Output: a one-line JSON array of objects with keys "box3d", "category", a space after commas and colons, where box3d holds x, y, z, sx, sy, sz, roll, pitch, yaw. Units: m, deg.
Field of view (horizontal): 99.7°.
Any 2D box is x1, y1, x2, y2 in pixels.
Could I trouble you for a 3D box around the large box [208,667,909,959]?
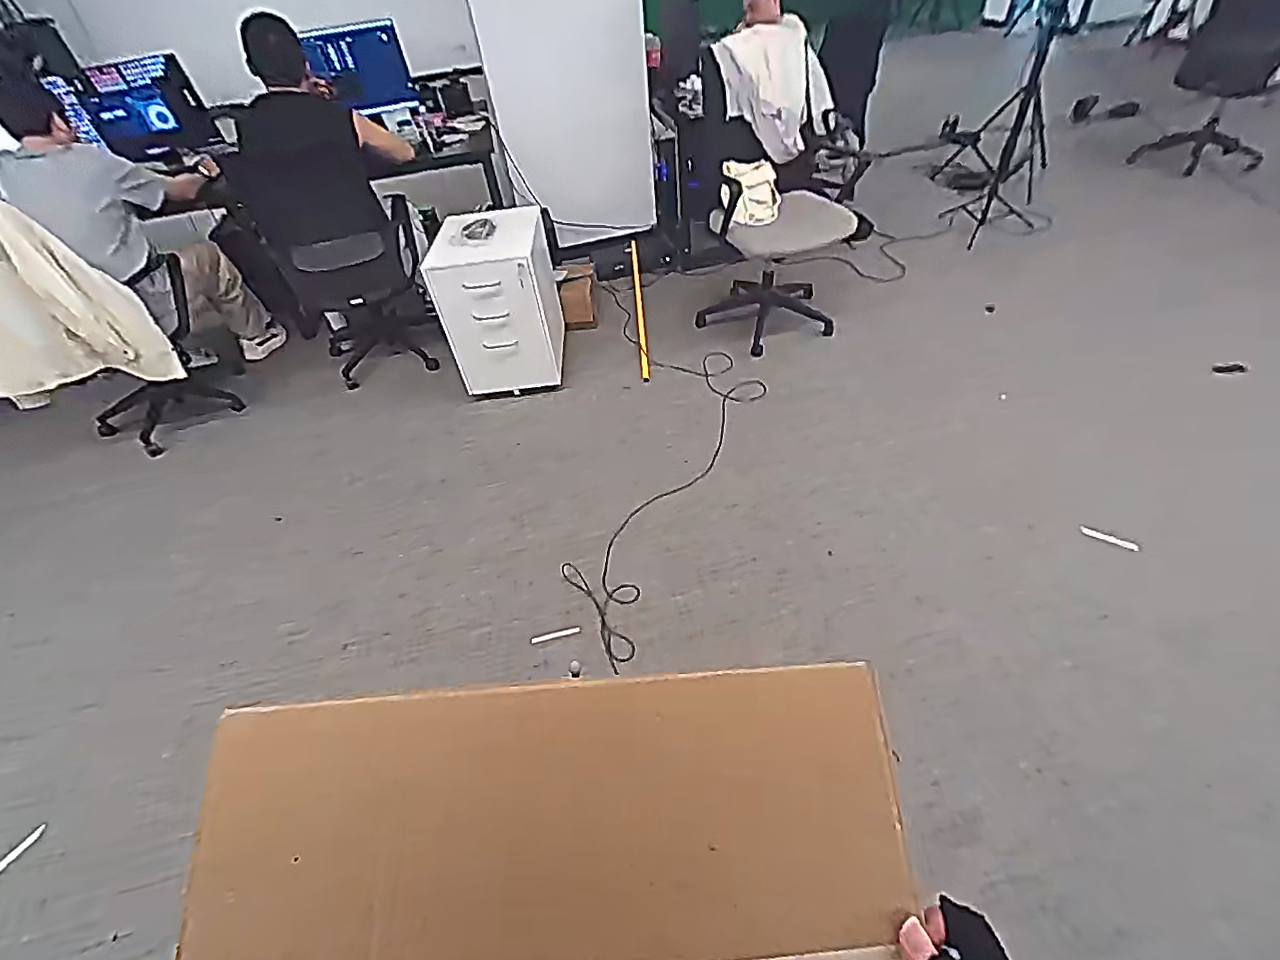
[{"box3d": [-0.044, 0.335, 0.443, 0.408, 0.320, 0.320, -4, 71, -3], "category": "large box"}]
